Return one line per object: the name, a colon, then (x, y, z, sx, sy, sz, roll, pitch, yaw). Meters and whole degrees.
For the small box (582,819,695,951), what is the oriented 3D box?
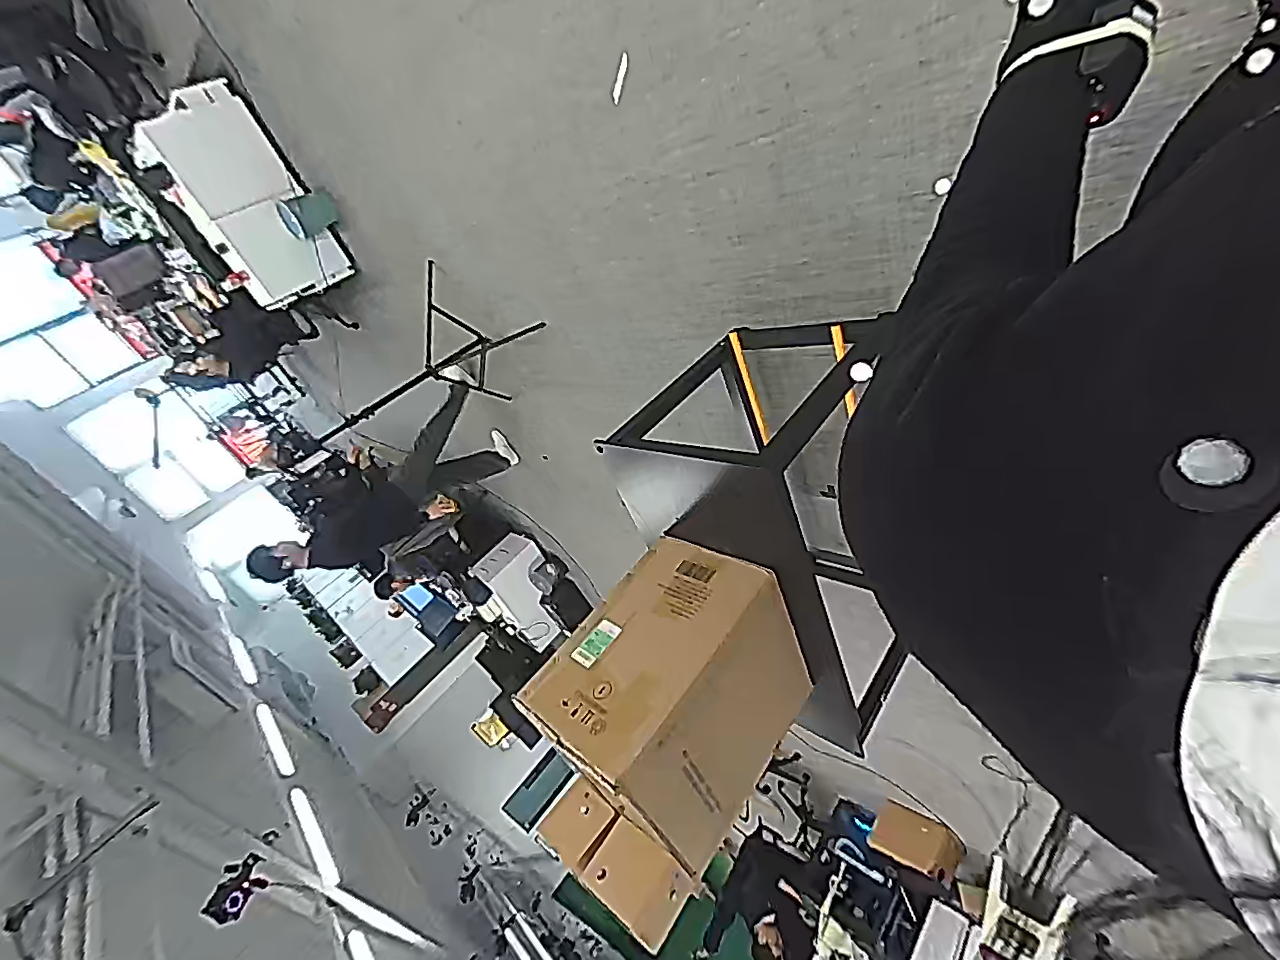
small box: (0.000, 0.952, 1.291, 0.179, 0.176, 0.168, 9, 135, 44)

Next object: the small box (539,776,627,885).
small box: (-0.130, 0.940, 1.443, 0.168, 0.176, 0.179, 15, 138, 46)
